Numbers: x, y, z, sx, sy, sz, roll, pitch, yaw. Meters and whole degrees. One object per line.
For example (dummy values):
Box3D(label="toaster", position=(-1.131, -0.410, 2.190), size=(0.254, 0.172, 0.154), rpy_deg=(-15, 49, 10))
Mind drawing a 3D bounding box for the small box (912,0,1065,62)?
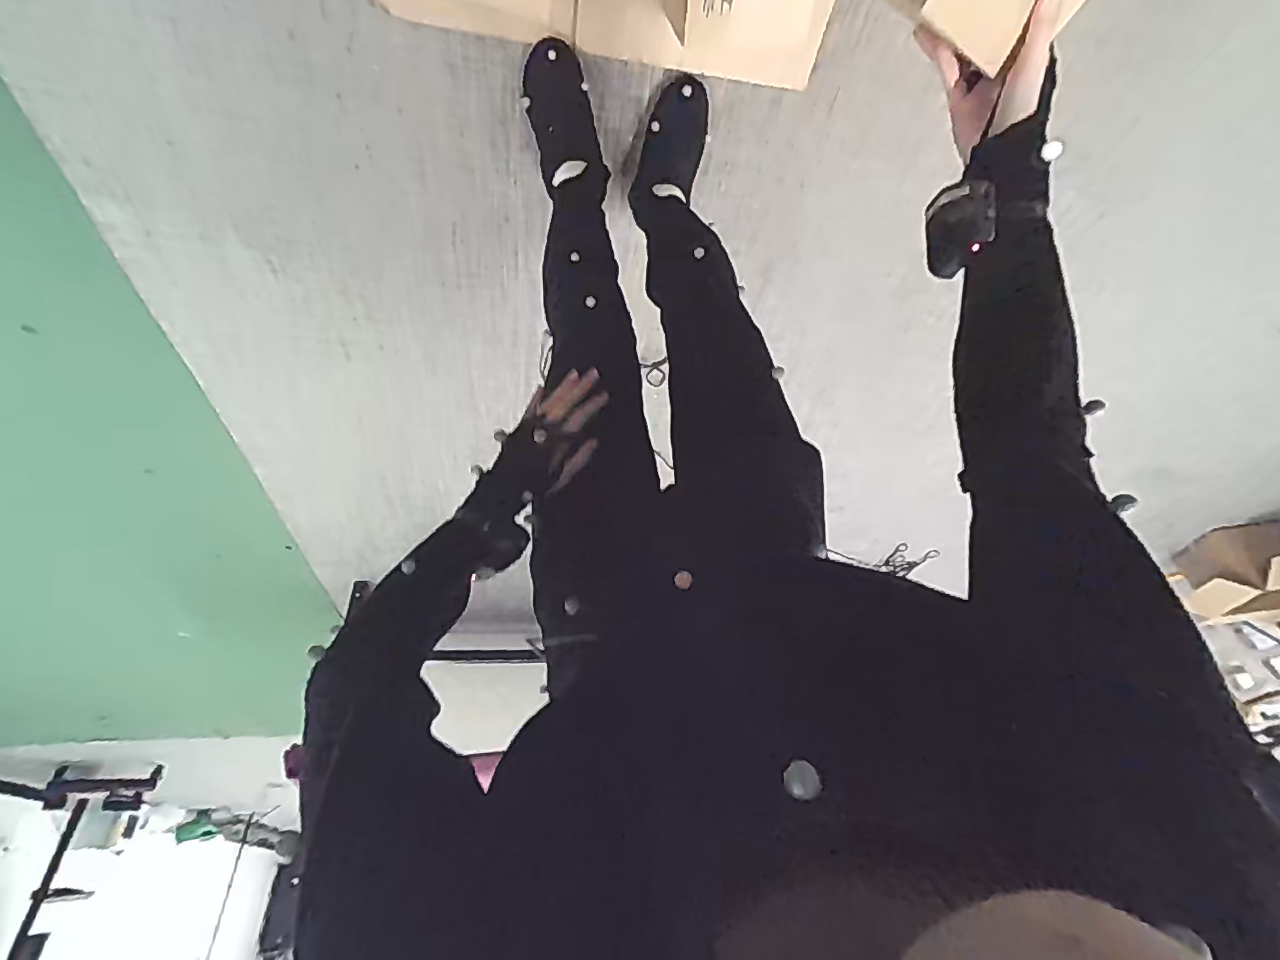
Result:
Box3D(label="small box", position=(0.243, -0.447, 0.367), size=(0.168, 0.176, 0.179), rpy_deg=(-8, 149, -38))
